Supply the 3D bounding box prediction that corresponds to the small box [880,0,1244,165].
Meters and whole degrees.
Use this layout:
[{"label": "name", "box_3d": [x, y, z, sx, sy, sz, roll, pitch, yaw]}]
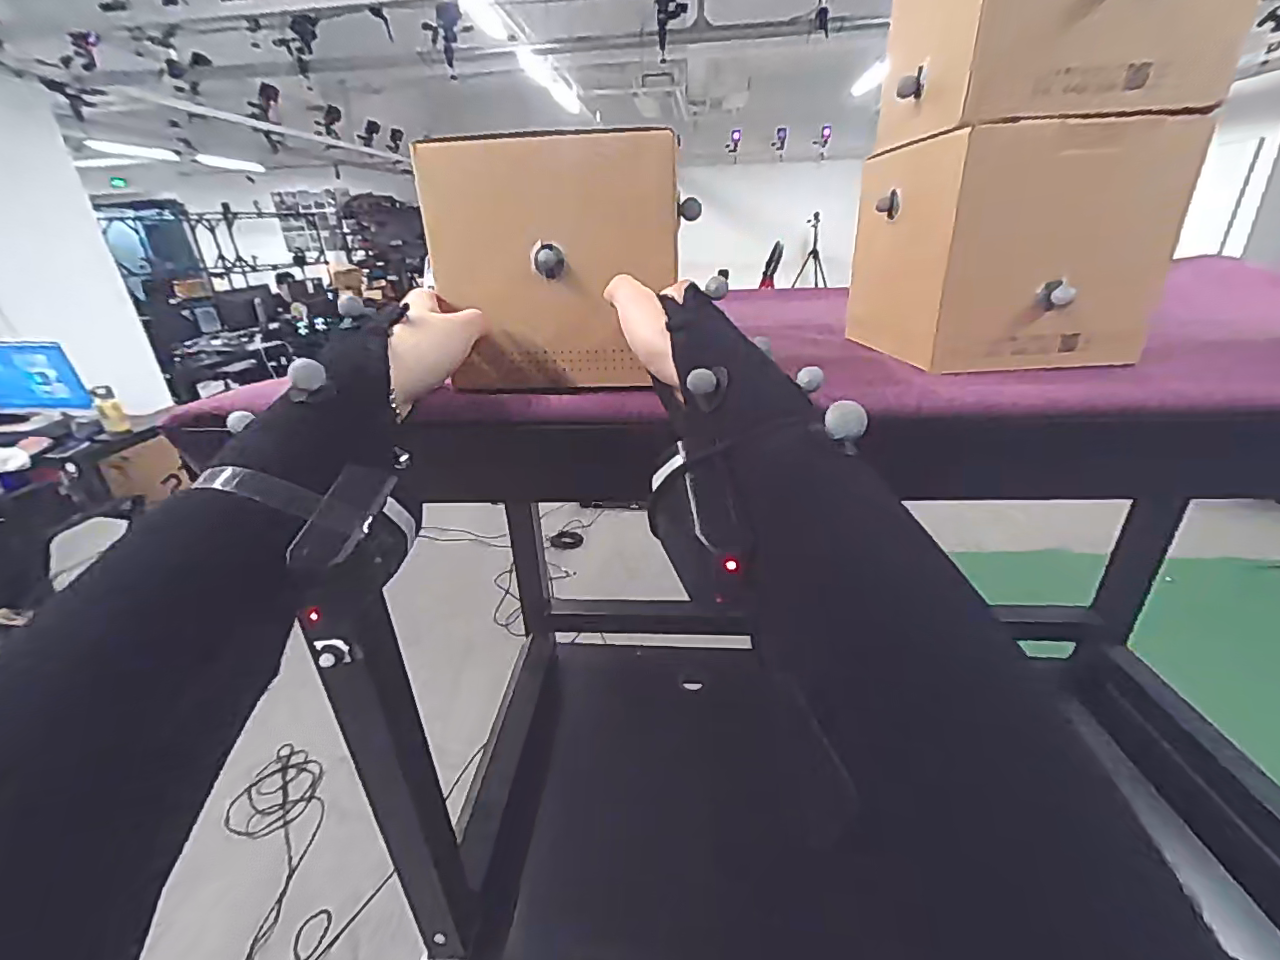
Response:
[{"label": "small box", "box_3d": [0.297, -0.342, 0.399, 0.168, 0.176, 0.179, -1, 25, 3]}]
